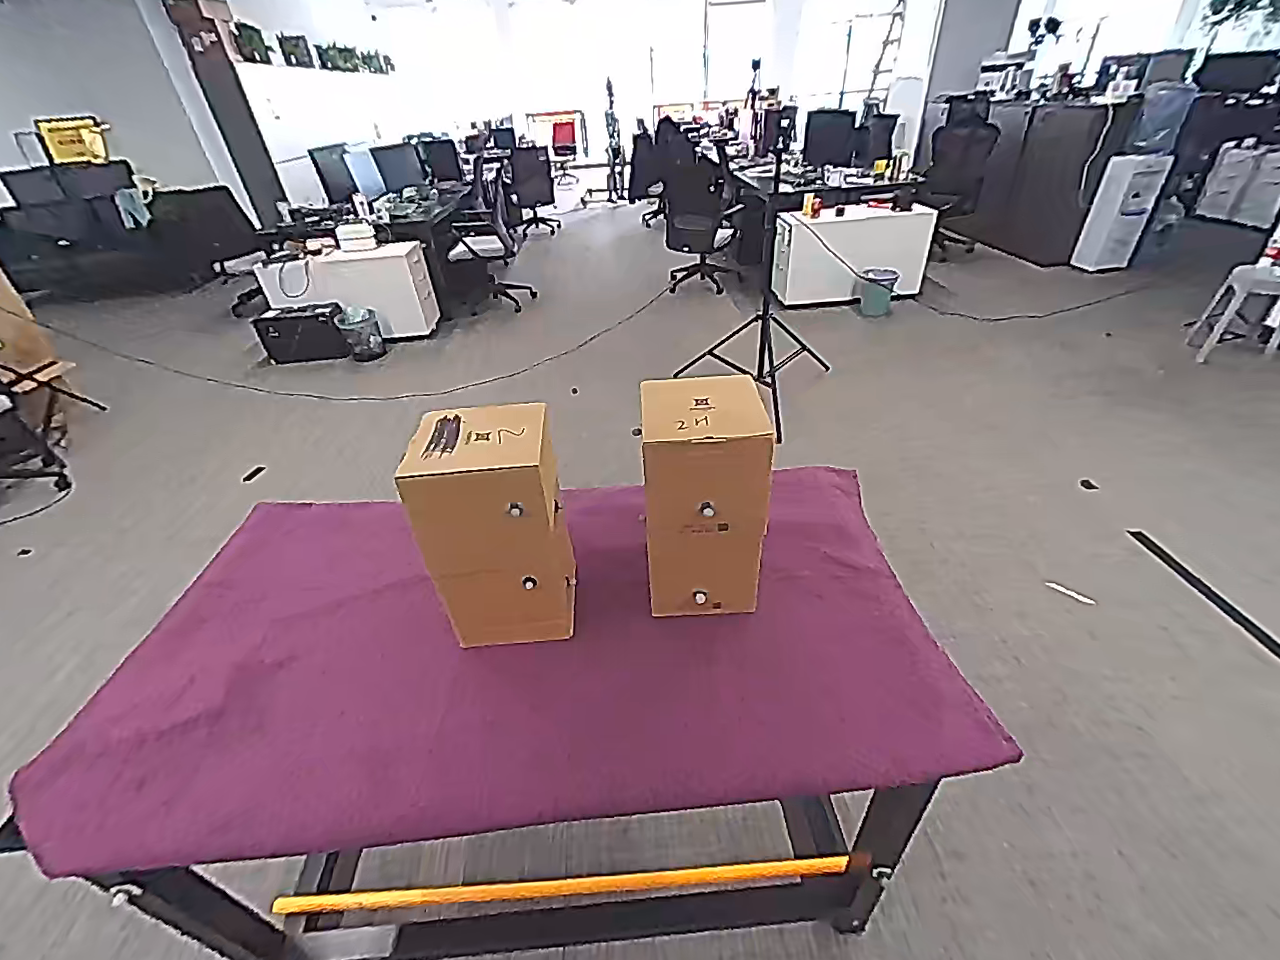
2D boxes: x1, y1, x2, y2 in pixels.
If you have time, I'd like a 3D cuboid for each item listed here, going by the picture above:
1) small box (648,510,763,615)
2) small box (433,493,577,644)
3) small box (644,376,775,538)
[{"bbox_3d":[0.098,0.098,0.880,0.168,0.176,0.179,-3,36,2],"label":"small box"},{"bbox_3d":[-0.201,0.141,0.856,0.179,0.176,0.168,-5,35,-1],"label":"small box"},{"bbox_3d":[0.091,-0.035,0.783,0.168,0.176,0.179,-4,36,2],"label":"small box"}]
